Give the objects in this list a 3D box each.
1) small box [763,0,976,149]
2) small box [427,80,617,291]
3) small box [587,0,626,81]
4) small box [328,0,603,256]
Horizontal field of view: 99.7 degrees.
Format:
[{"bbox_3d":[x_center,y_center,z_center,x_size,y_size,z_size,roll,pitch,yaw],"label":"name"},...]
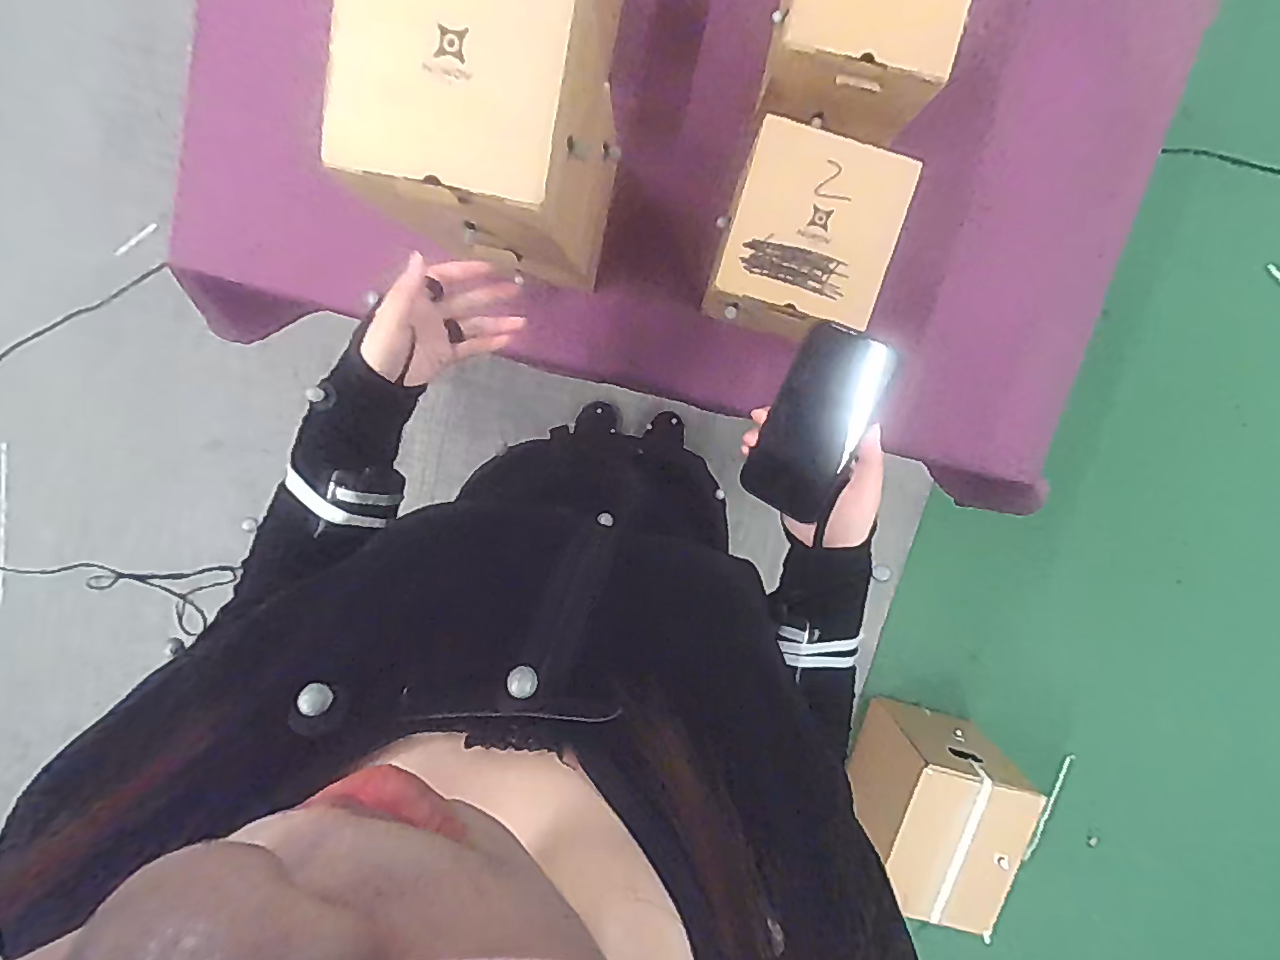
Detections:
[{"bbox_3d":[0.243,-0.500,0.585,0.168,0.176,0.179,12,100,0],"label":"small box"},{"bbox_3d":[-0.123,-0.335,0.620,0.168,0.176,0.179,12,99,0],"label":"small box"},{"bbox_3d":[-0.100,-0.575,0.581,0.168,0.176,0.179,14,99,-2],"label":"small box"},{"bbox_3d":[-0.129,-0.307,0.457,0.168,0.176,0.179,11,100,-1],"label":"small box"}]
